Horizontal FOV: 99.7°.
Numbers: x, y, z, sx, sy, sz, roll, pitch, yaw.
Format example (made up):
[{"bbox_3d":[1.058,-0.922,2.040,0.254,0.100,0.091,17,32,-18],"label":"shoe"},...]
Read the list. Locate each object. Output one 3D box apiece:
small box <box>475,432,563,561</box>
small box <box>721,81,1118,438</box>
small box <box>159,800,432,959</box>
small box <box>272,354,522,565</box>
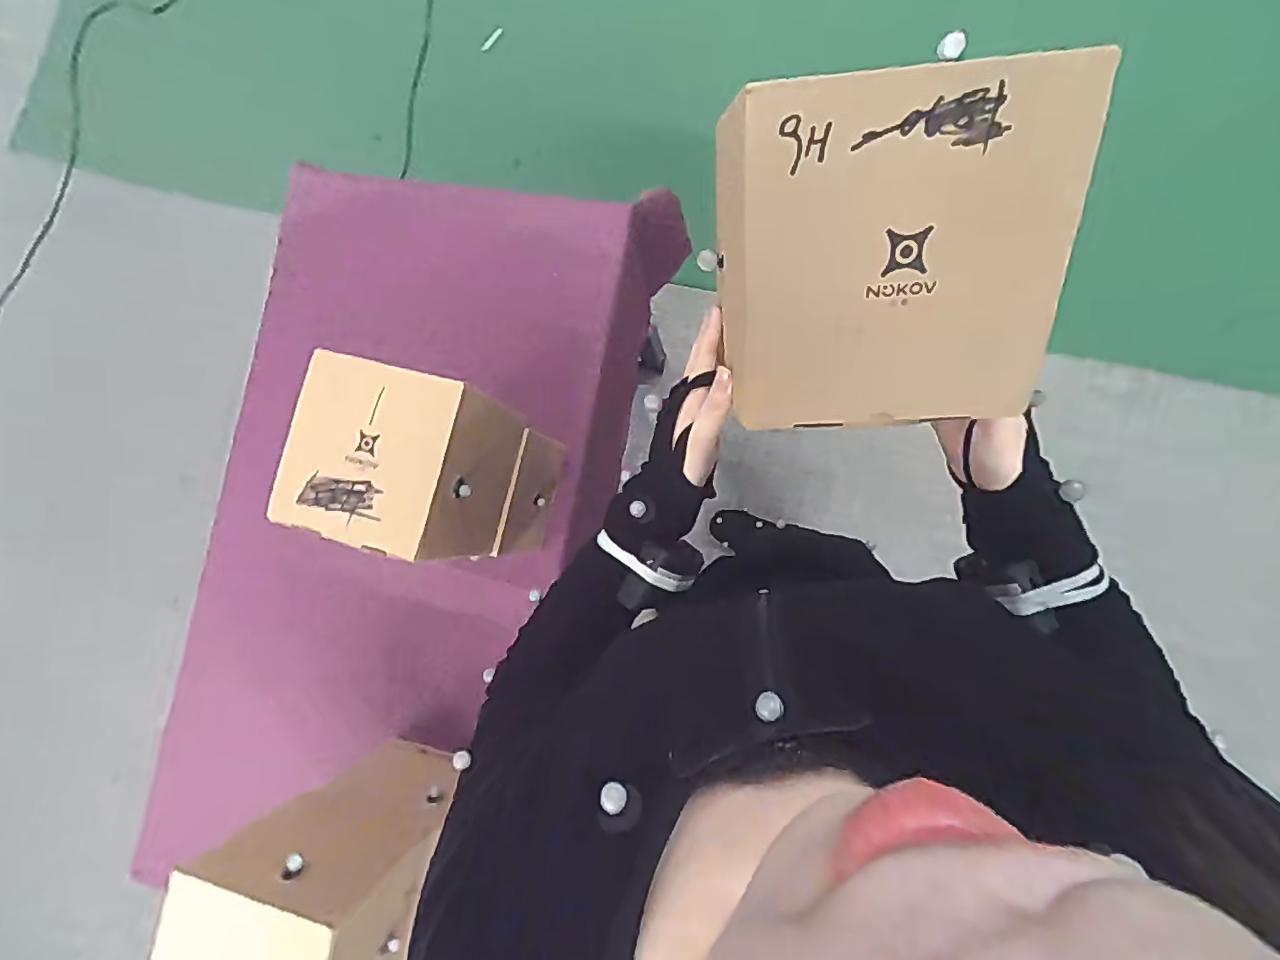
[{"bbox_3d":[-0.223,0.008,0.756,0.179,0.176,0.168,13,86,9],"label":"small box"},{"bbox_3d":[0.146,-0.141,0.360,0.168,0.176,0.179,-2,117,4],"label":"small box"},{"bbox_3d":[-0.353,0.470,0.567,0.179,0.176,0.168,10,87,9],"label":"small box"},{"bbox_3d":[-0.248,-0.015,0.595,0.168,0.176,0.179,14,86,9],"label":"small box"}]
